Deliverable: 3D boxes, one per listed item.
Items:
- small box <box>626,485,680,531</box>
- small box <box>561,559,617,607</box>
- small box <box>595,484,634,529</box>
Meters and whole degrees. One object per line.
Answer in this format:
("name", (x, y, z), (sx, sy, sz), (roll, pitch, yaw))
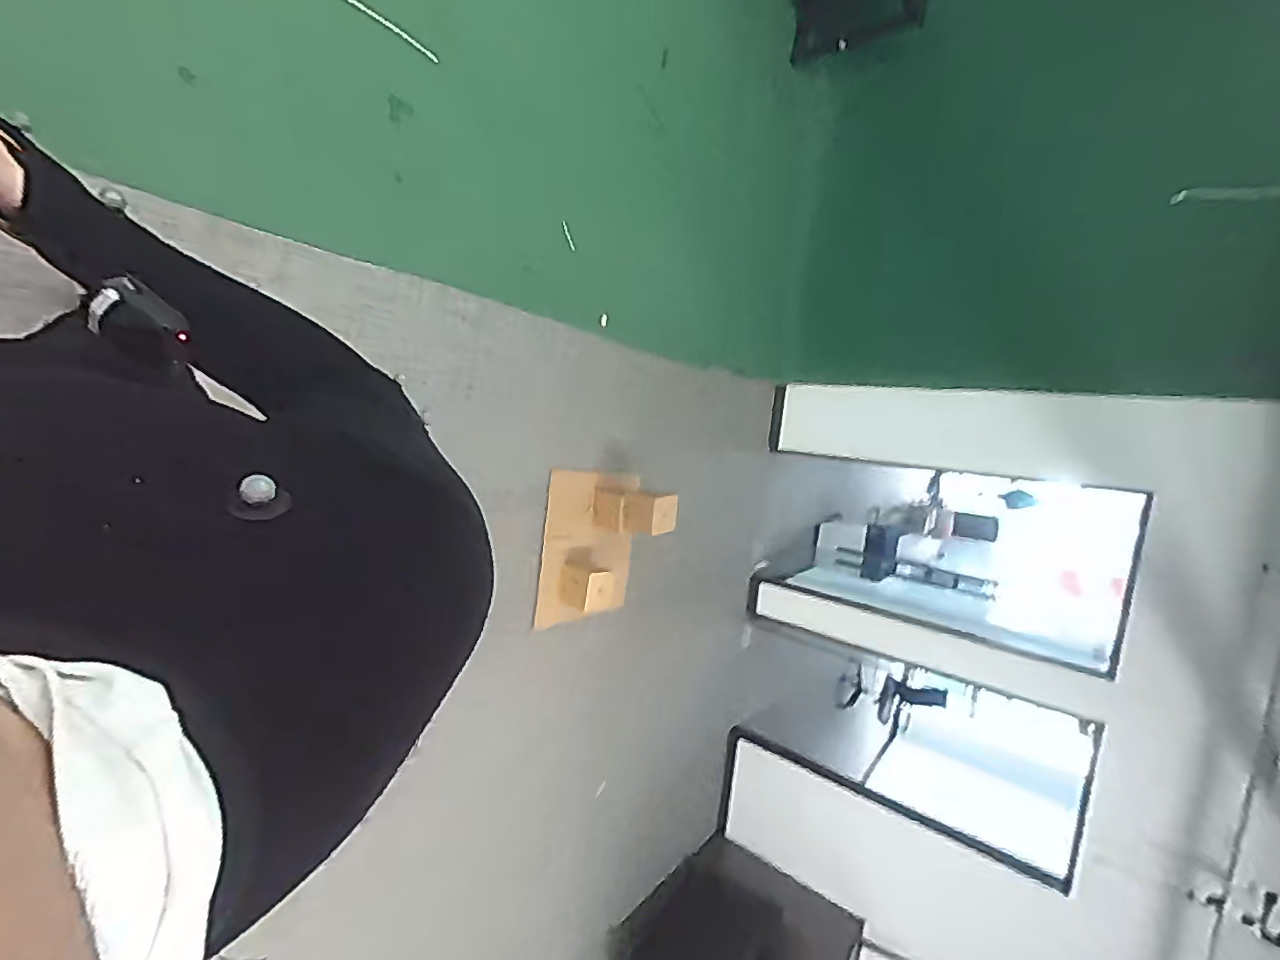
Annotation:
("small box", (0.054, 0.122, 2.399), (0.179, 0.176, 0.168), (-8, 106, -52))
("small box", (-0.228, 0.451, 2.391), (0.179, 0.176, 0.168), (6, 94, -54))
("small box", (-0.087, 0.115, 2.489), (0.179, 0.176, 0.168), (-9, 107, -51))
